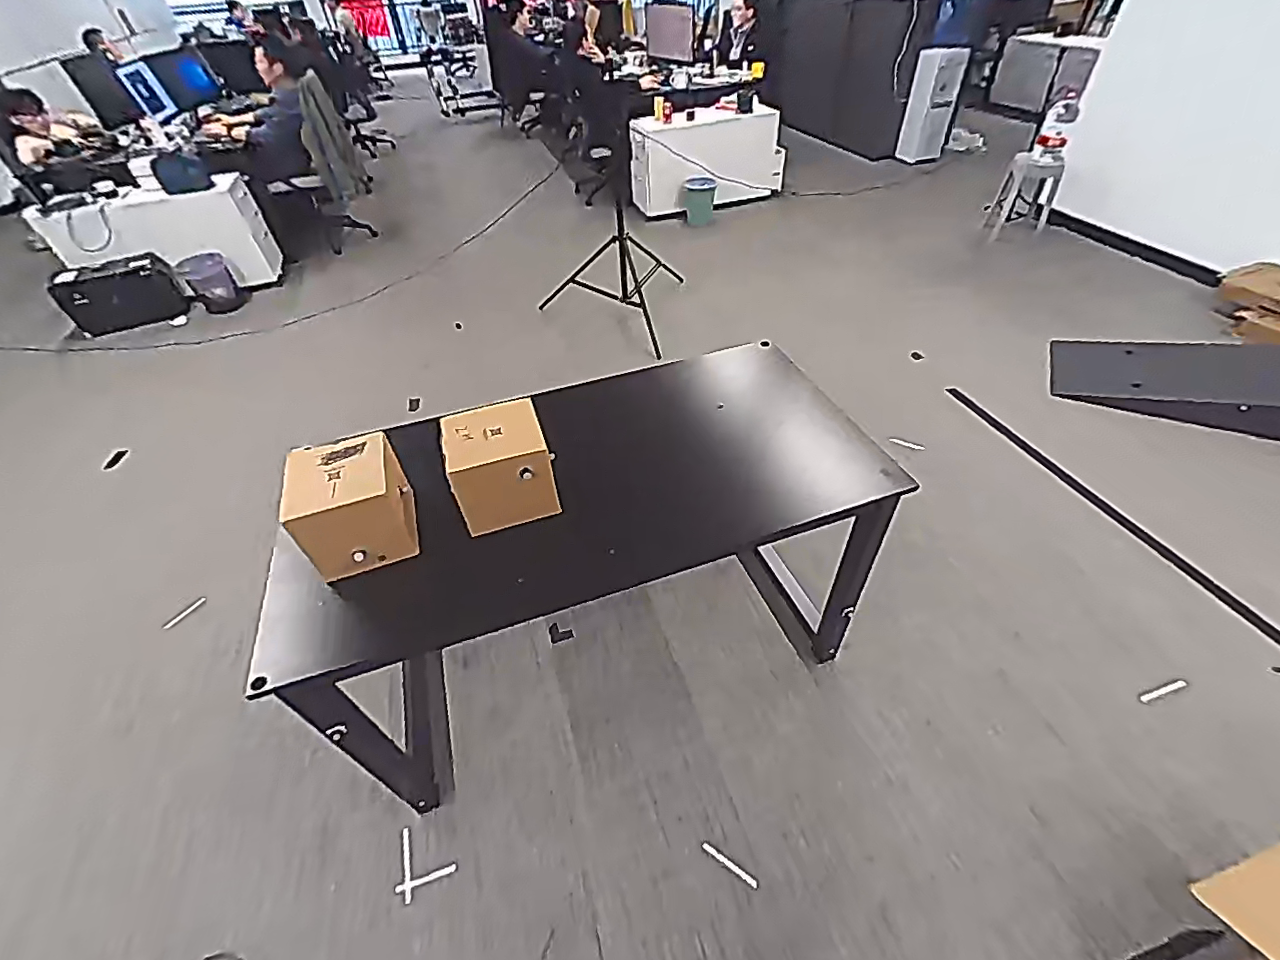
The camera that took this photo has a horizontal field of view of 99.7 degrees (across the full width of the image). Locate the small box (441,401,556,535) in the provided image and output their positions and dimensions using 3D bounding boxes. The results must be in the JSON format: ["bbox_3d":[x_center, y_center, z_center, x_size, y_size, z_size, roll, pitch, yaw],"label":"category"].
[{"bbox_3d":[-0.266,-0.023,1.037,0.179,0.176,0.168,-16,45,-11],"label":"small box"}]

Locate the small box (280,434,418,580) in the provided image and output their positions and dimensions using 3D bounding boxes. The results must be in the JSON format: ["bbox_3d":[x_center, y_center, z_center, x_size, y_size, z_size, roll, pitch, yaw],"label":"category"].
[{"bbox_3d":[-0.517,0.049,0.983,0.168,0.176,0.179,-17,47,-13],"label":"small box"}]
